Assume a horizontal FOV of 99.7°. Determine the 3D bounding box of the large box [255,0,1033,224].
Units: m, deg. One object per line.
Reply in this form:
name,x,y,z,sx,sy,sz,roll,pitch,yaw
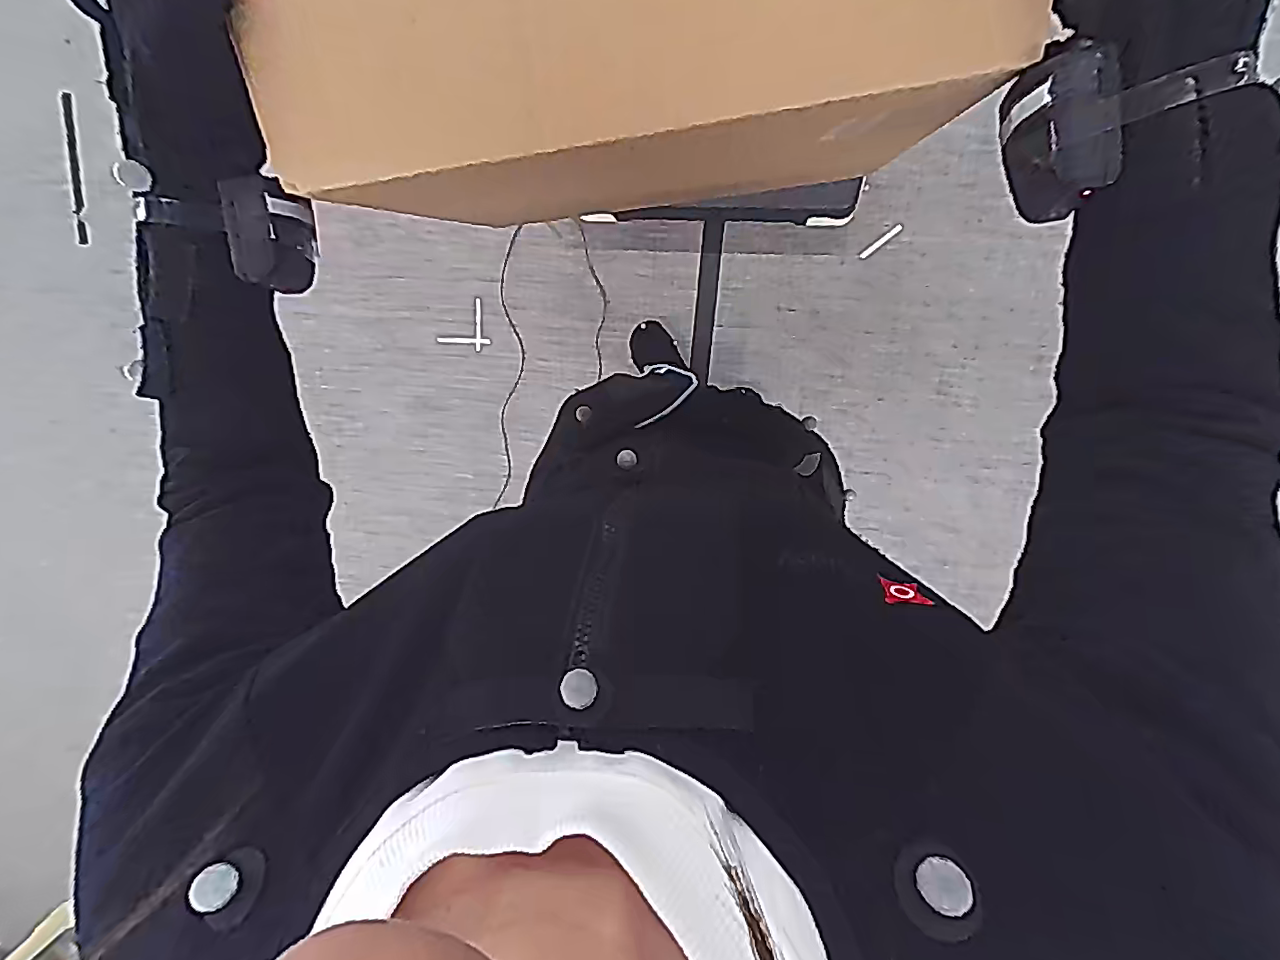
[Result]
large box,-0.007,-0.390,0.383,0.408,0.320,0.320,-4,111,10
